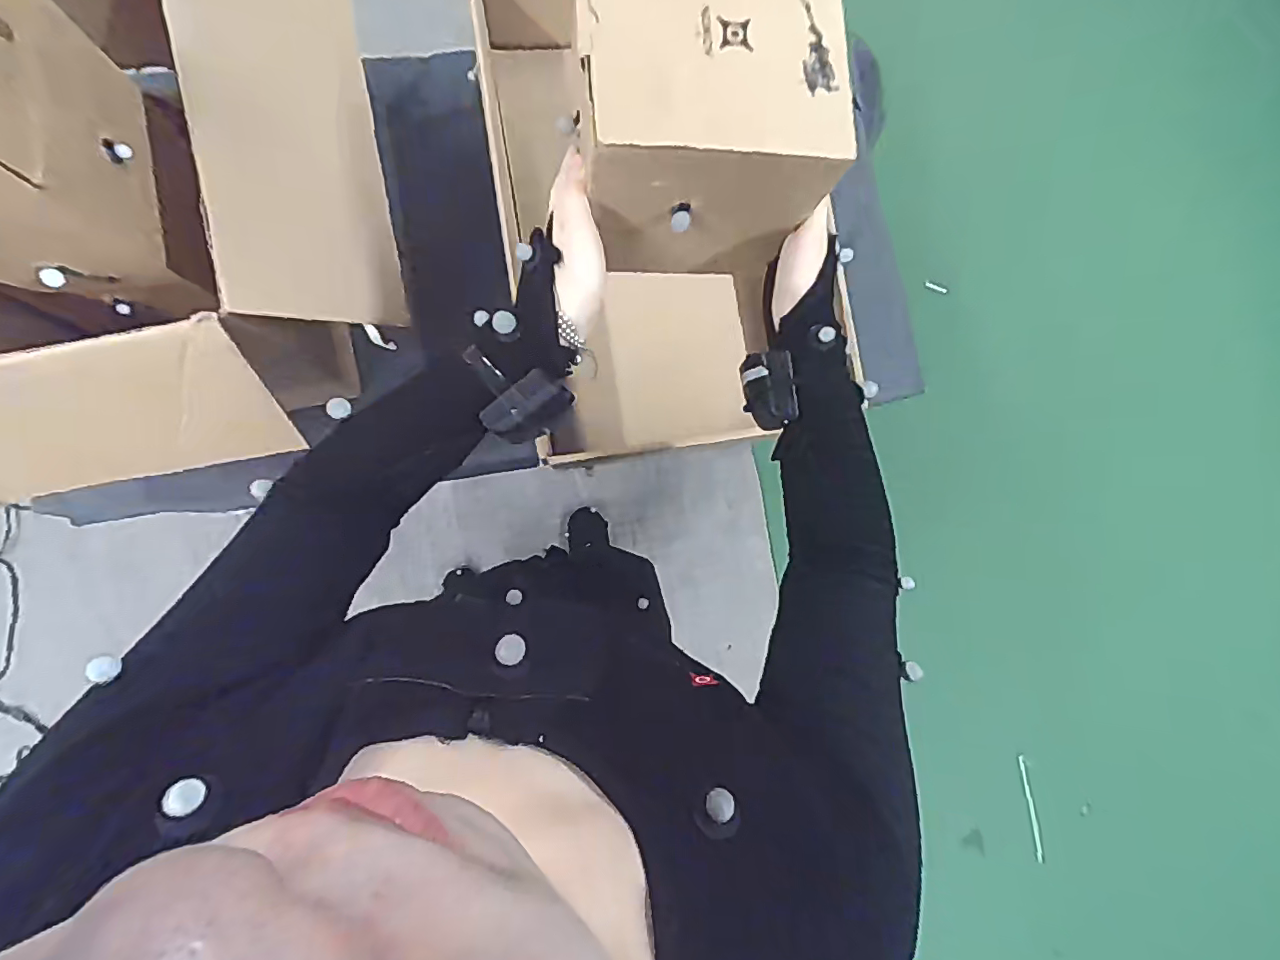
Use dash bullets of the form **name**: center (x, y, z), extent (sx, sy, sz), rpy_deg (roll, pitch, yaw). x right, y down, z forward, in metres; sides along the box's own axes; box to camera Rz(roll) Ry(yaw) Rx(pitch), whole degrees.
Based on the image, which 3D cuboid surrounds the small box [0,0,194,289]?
- **small box**: center (-0.544, -0.289, 0.479), extent (0.168, 0.176, 0.179), rpy_deg (-7, 90, -8)

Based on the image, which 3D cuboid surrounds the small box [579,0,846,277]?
- **small box**: center (0.041, -0.281, 0.444), extent (0.179, 0.176, 0.168), rpy_deg (-2, 86, -10)
